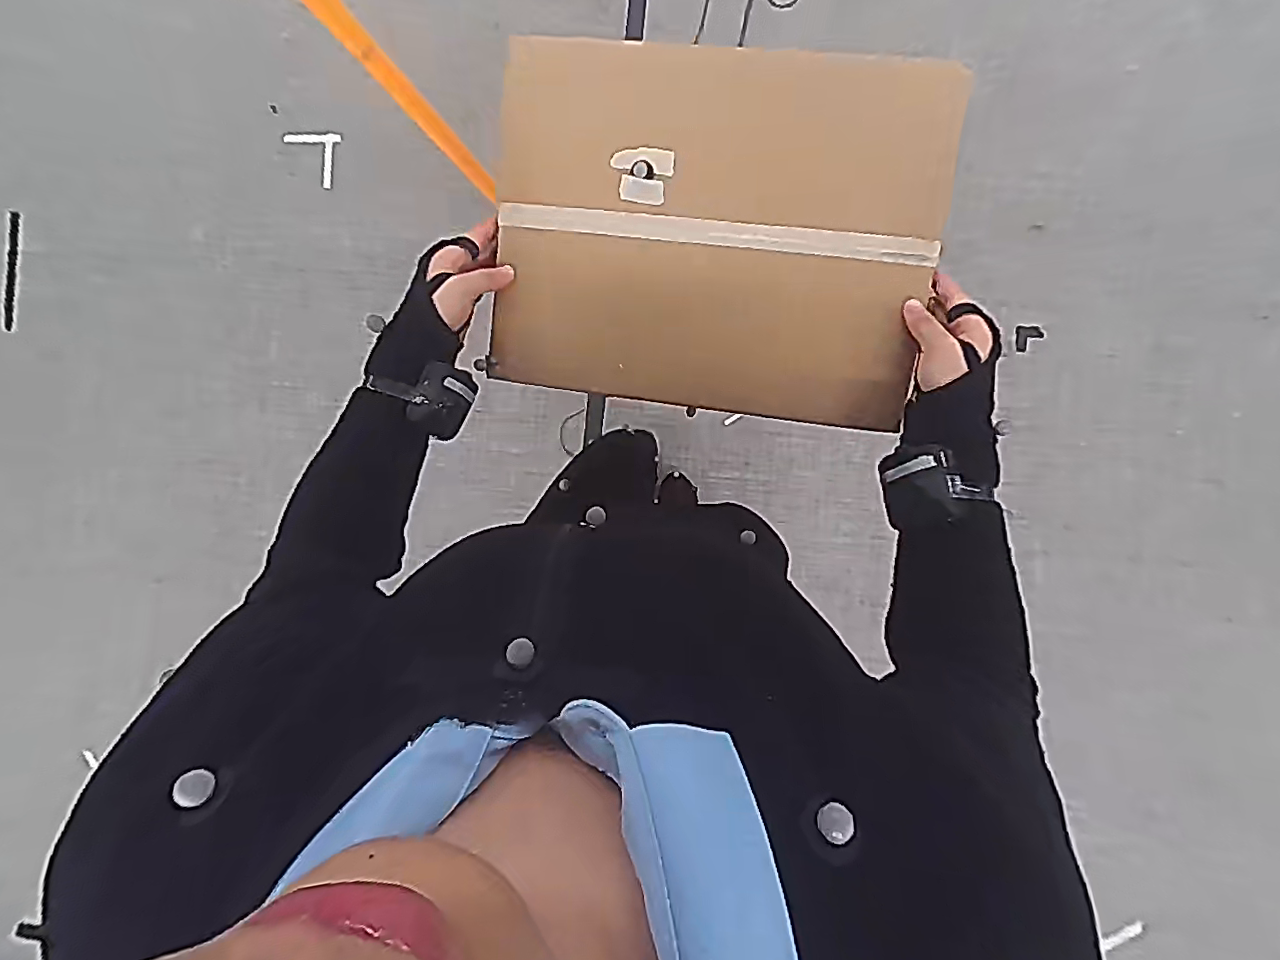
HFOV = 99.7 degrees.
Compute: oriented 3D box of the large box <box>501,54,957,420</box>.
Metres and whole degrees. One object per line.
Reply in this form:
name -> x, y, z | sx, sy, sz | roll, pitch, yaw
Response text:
large box -> 0.088, -0.254, 0.661 | 0.408, 0.320, 0.320 | 8, 98, 7
